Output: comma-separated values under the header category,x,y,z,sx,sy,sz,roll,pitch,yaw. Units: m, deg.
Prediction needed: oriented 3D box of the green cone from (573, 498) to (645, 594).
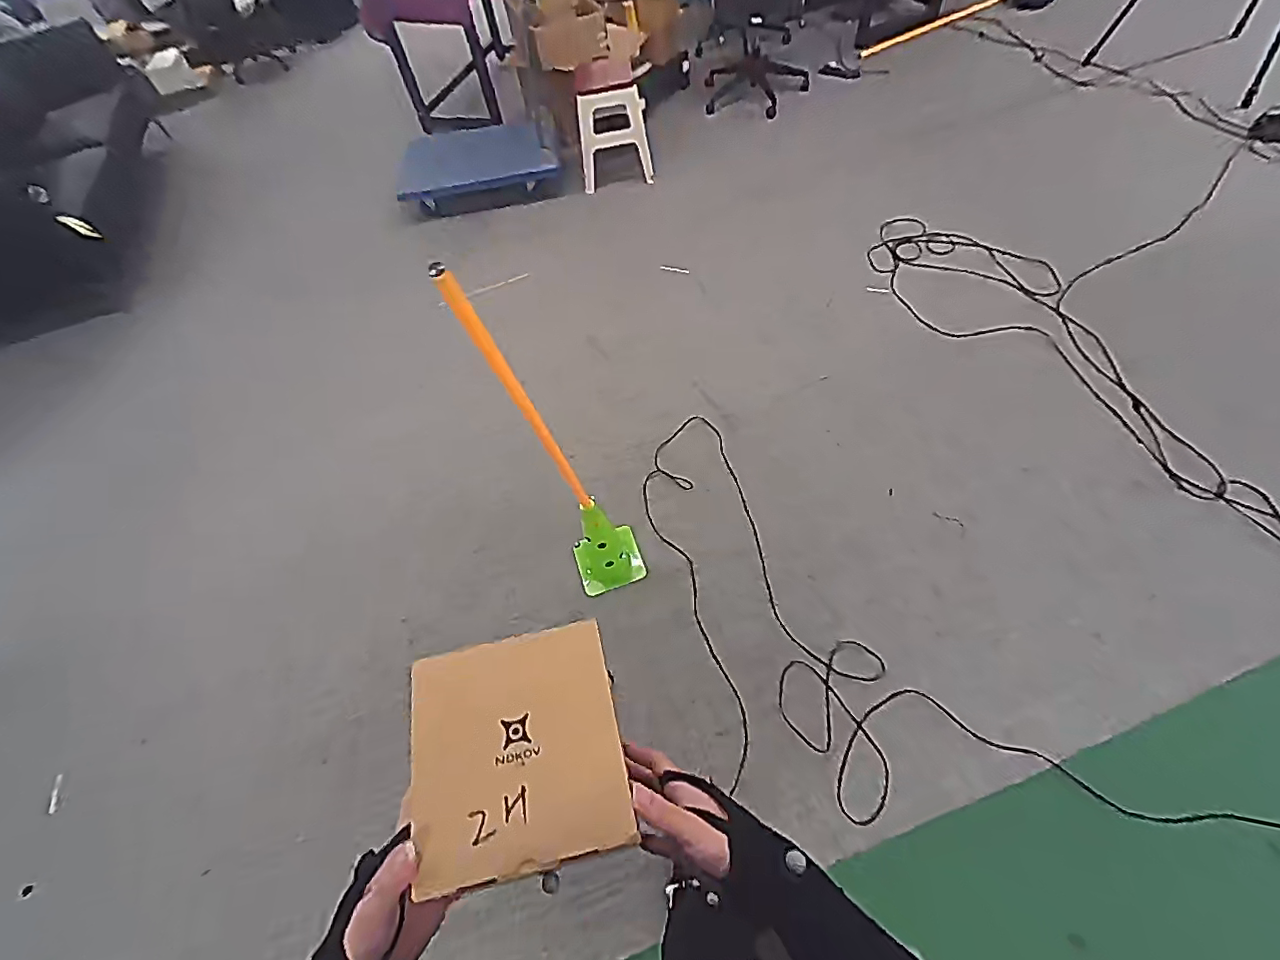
category,x,y,z,sx,sy,sz,roll,pitch,yaw
green cone,-0.119,0.163,1.591,0.202,0.368,0.200,-19,58,-6
